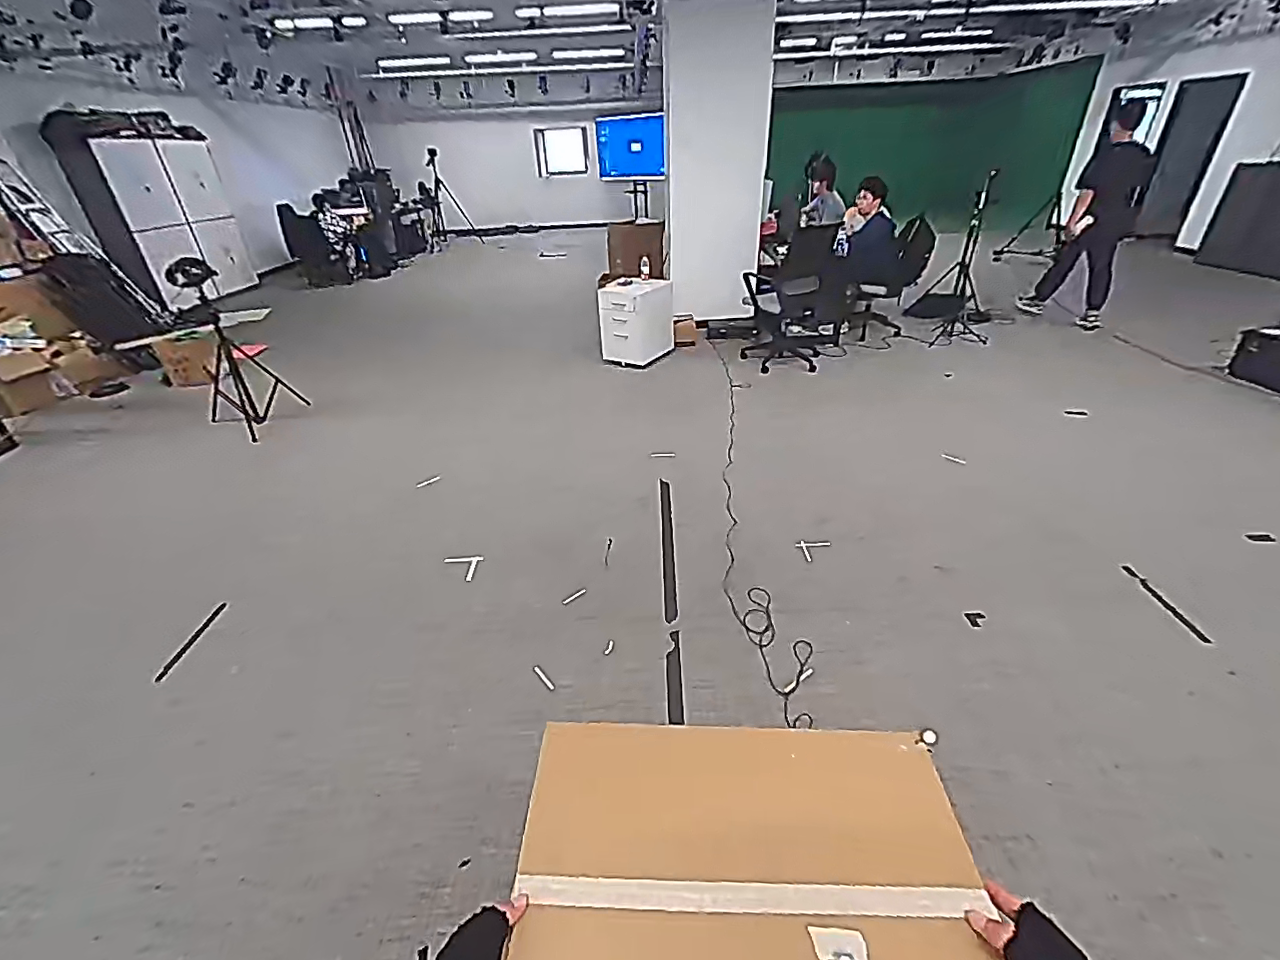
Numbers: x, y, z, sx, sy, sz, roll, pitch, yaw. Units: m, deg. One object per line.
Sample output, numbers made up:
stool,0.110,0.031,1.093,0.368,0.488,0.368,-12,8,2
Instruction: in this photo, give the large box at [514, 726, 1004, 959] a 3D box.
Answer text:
large box,0.096,0.486,0.555,0.408,0.320,0.320,1,35,2
